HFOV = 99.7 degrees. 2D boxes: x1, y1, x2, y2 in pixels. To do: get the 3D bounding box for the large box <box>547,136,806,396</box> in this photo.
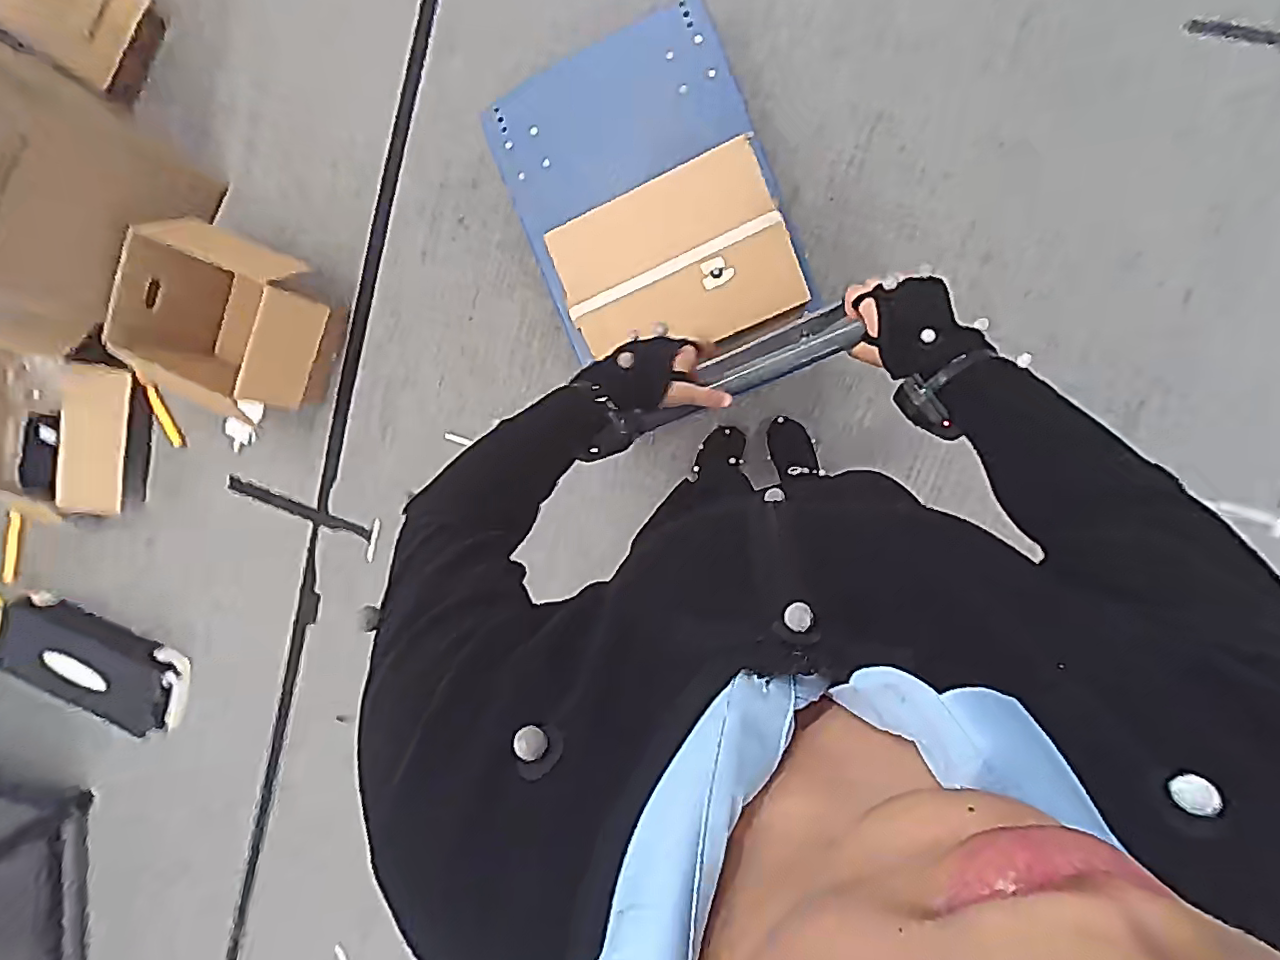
[{"bbox_3d":[0.079,-0.403,1.132,0.408,0.320,0.320,-22,93,9],"label":"large box"}]
